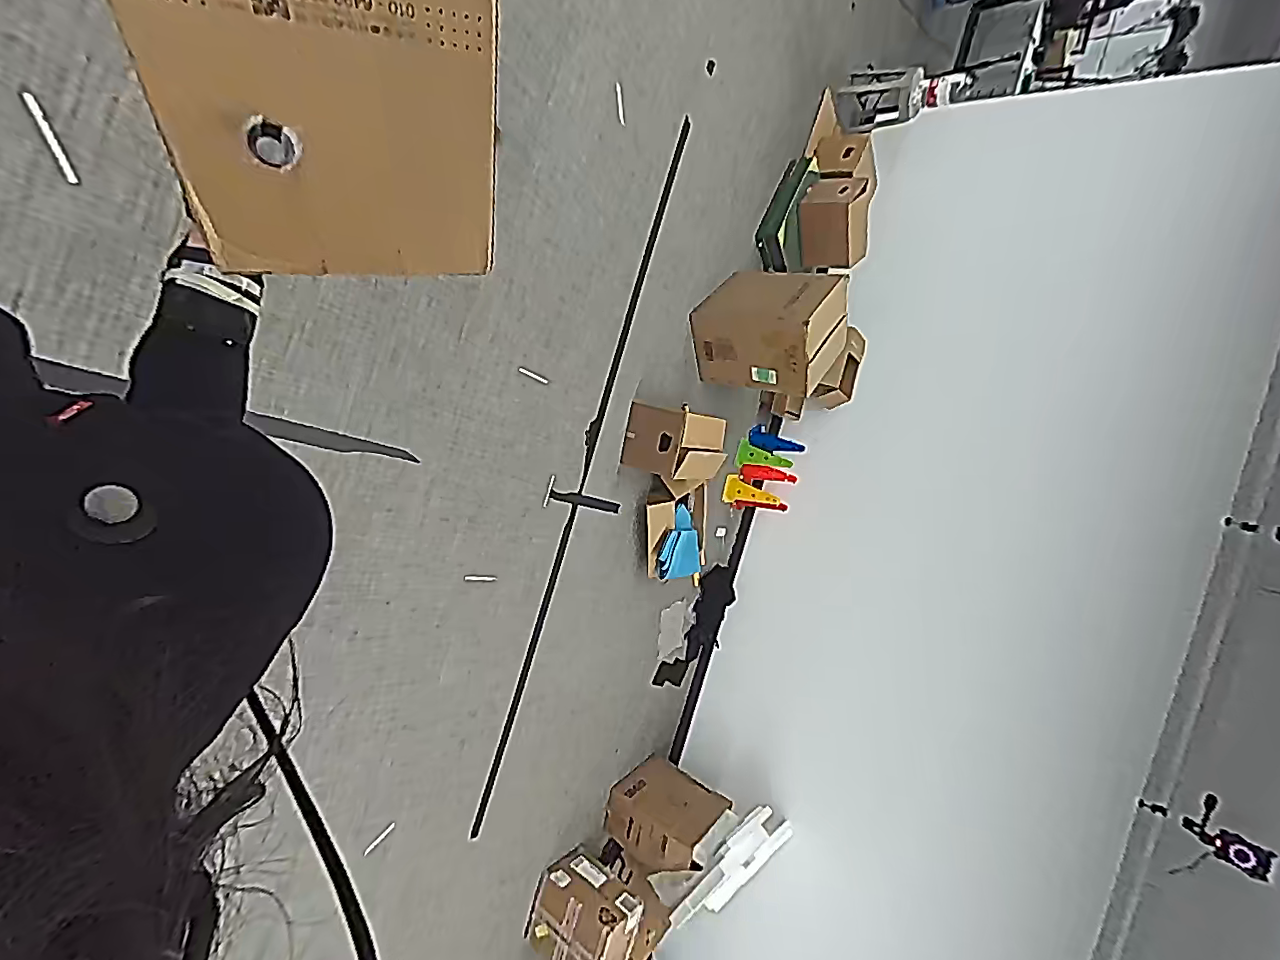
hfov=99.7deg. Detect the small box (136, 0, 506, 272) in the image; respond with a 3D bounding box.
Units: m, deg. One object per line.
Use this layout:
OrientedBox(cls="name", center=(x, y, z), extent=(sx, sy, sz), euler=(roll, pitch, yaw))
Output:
OrientedBox(cls="small box", center=(-0.185, -0.252, 0.337), extent=(0.168, 0.179, 0.176), euler=(-8, 142, -26))
